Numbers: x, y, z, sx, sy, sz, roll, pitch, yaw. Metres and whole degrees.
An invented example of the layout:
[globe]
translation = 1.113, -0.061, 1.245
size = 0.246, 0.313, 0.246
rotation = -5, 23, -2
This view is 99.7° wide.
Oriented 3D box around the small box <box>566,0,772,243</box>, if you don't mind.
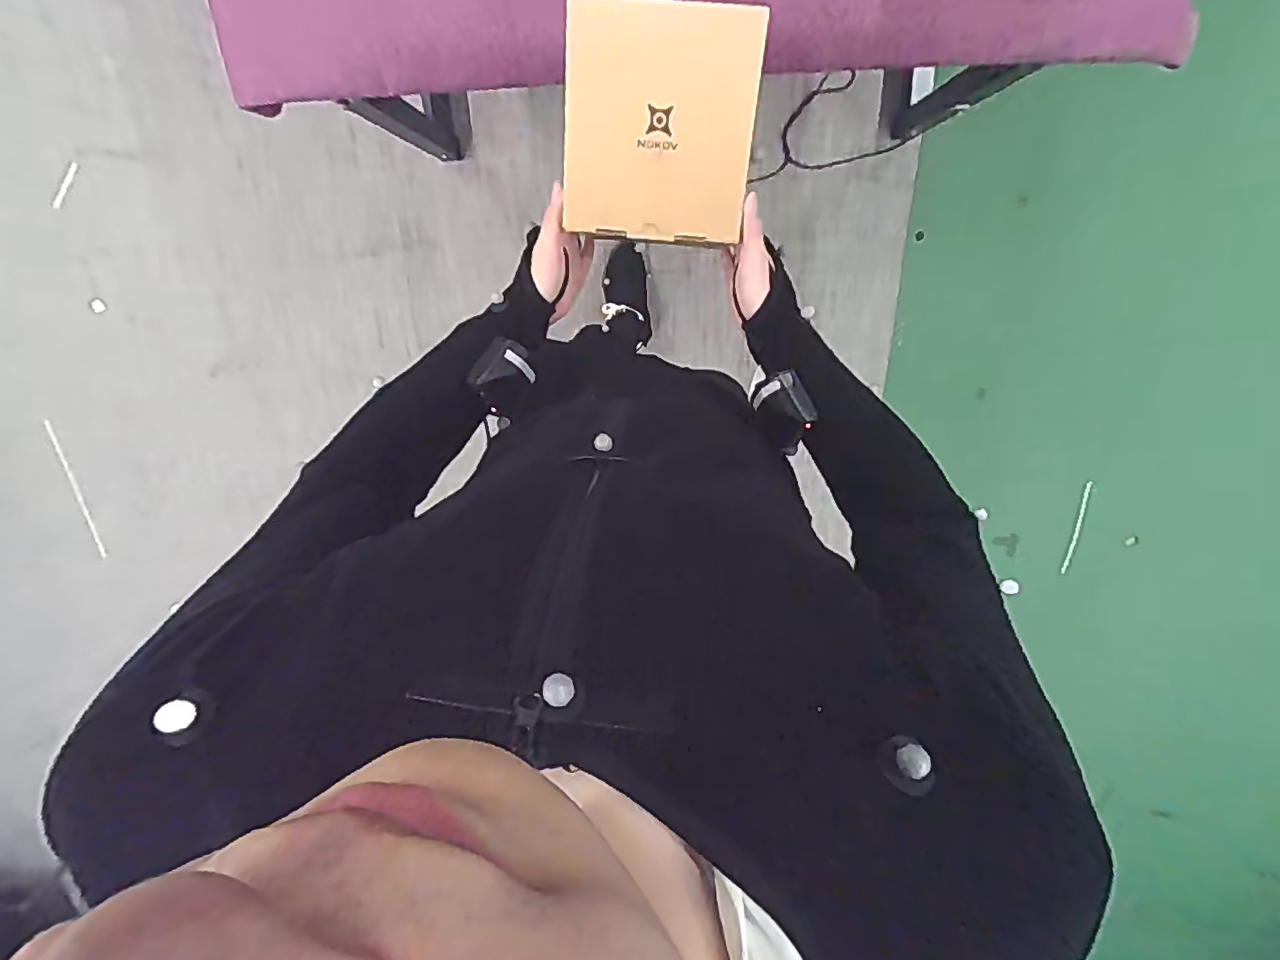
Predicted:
[small box]
translation = 0.022, -0.340, 0.540
size = 0.168, 0.176, 0.179
rotation = 5, 114, 1
